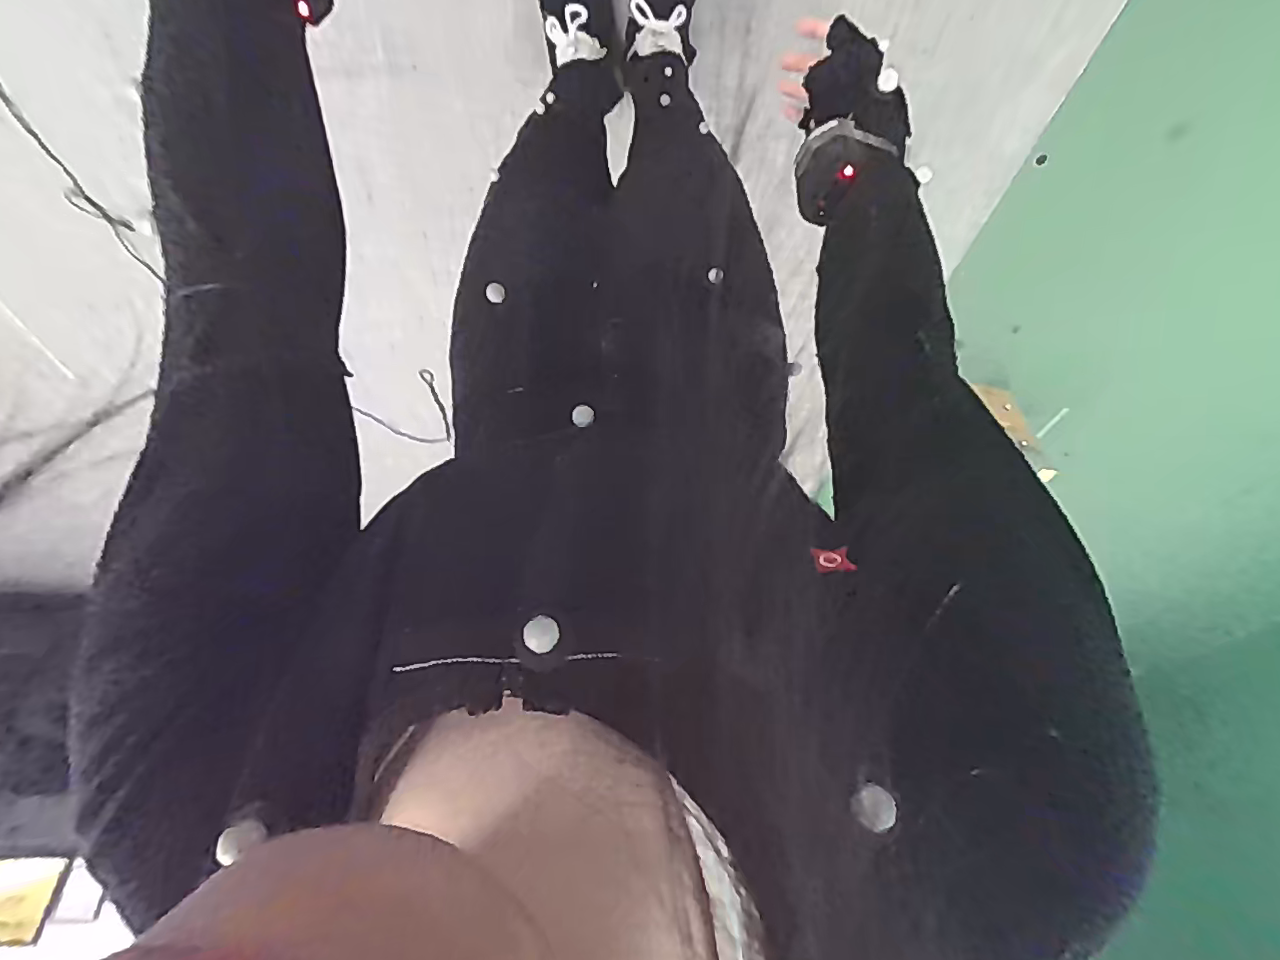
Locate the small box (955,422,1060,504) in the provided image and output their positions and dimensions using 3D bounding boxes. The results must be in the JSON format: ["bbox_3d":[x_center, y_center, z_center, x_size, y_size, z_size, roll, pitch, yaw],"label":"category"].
[{"bbox_3d":[1.079,-0.051,1.607,0.168,0.176,0.179,7,143,-8],"label":"small box"}]
